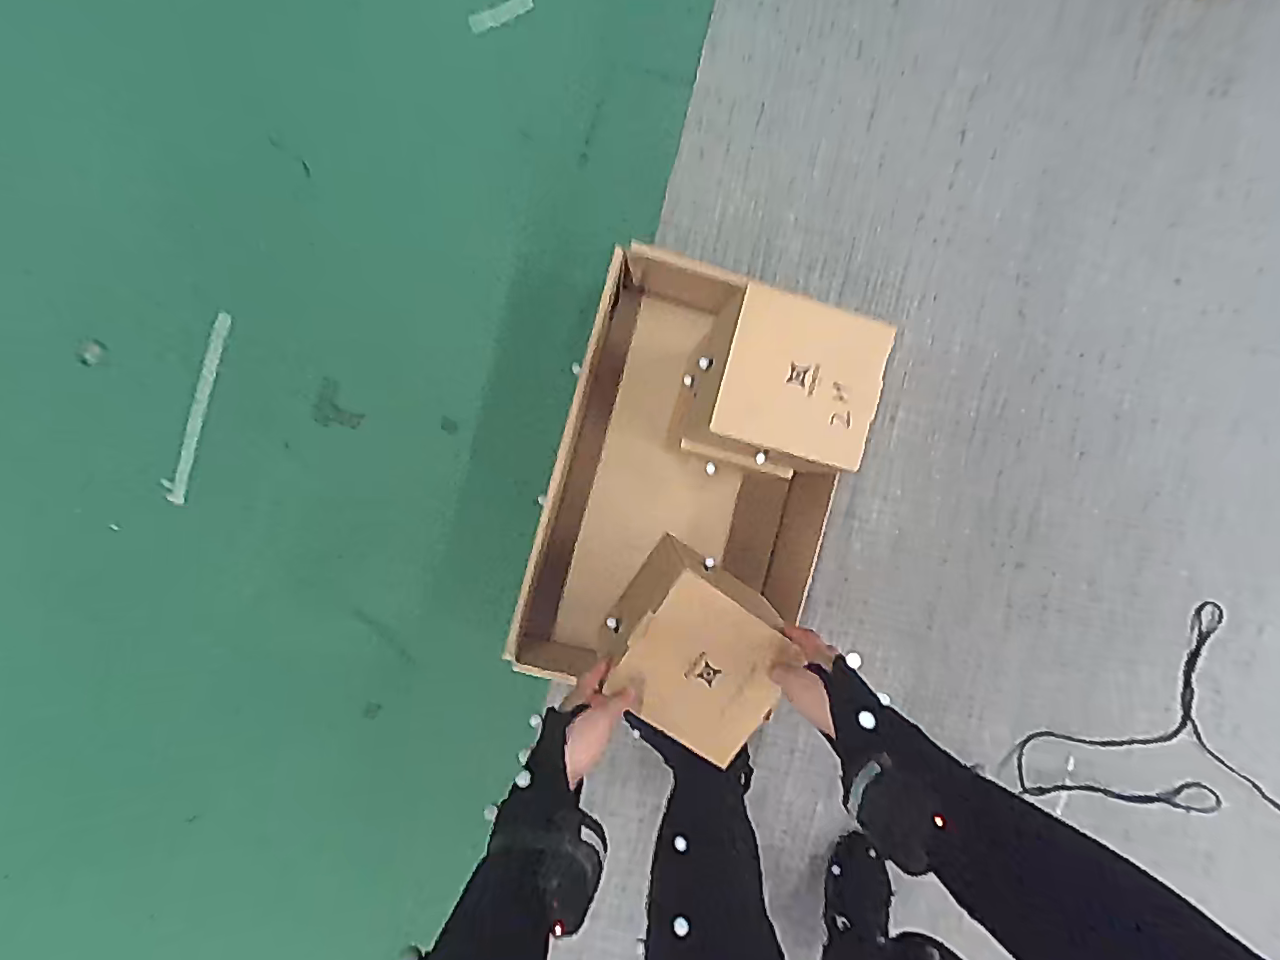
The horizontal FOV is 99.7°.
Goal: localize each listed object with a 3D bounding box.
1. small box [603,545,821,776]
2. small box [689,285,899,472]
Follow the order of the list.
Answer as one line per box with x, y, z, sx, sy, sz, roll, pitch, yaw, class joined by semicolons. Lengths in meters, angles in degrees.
0.069;0.195;0.640;0.179;0.176;0.168;34;94;-9;small box
0.169;-0.107;0.653;0.179;0.176;0.168;15;90;-6;small box
